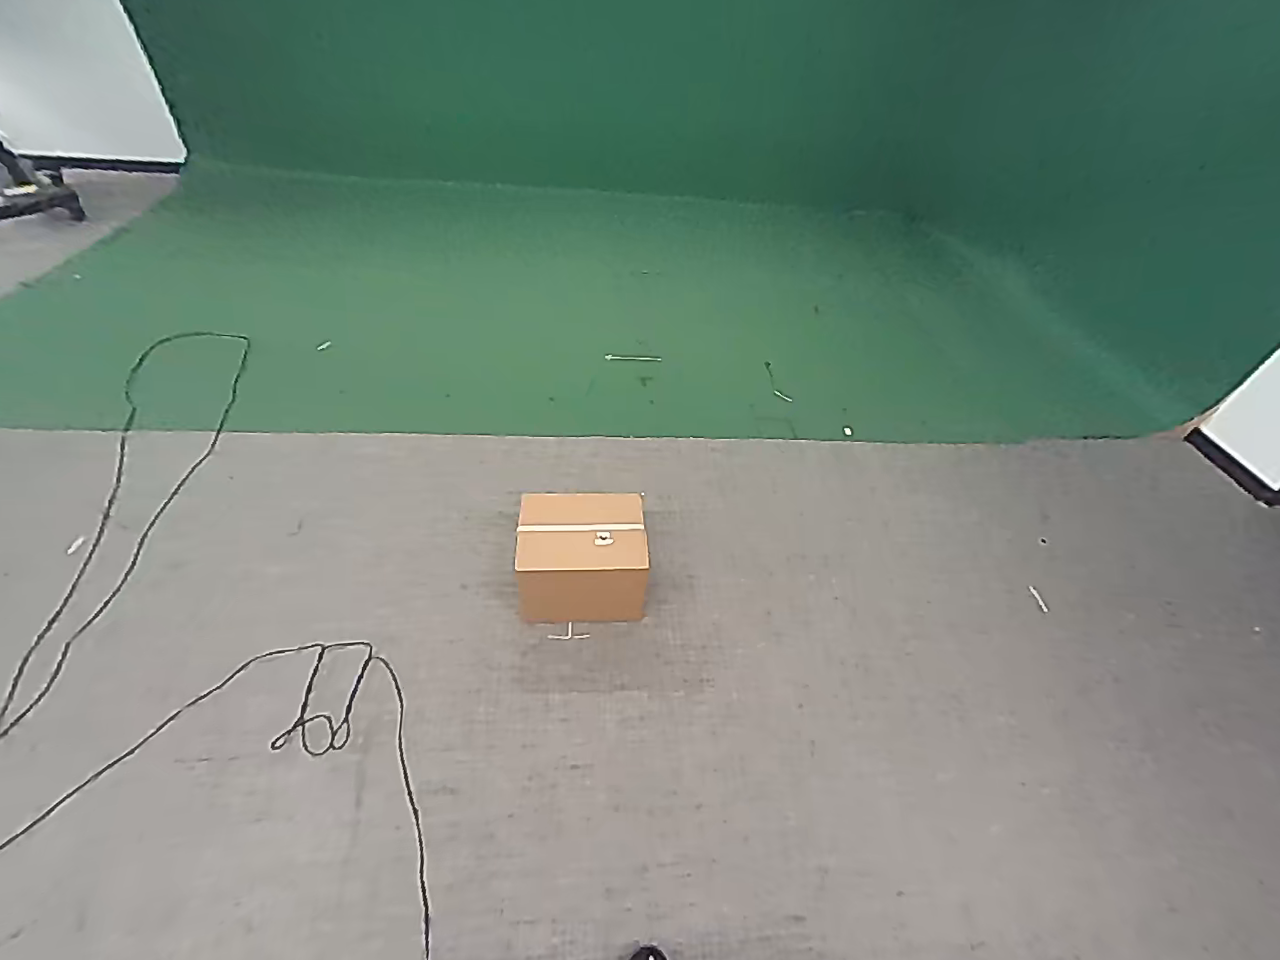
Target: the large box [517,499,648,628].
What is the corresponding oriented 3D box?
[{"bbox_3d":[-0.200,0.281,1.836,0.408,0.320,0.320,-1,45,-7],"label":"large box"}]
